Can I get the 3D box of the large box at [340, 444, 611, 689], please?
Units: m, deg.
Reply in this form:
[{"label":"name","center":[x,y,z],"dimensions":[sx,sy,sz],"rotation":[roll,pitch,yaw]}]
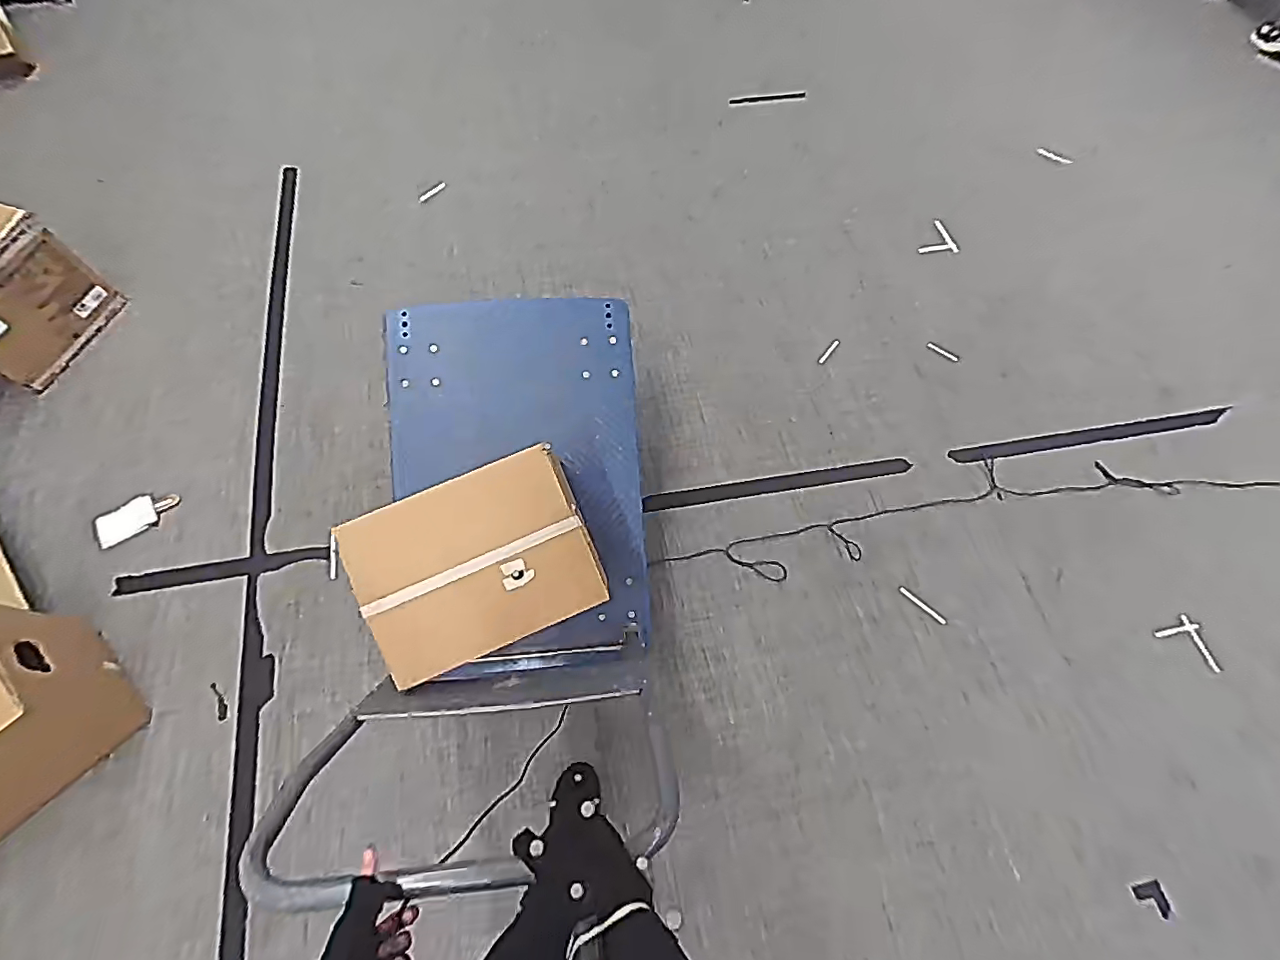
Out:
[{"label":"large box","center":[-0.307,0.160,1.120],"dimensions":[0.408,0.320,0.320],"rotation":[-24,90,-6]}]
